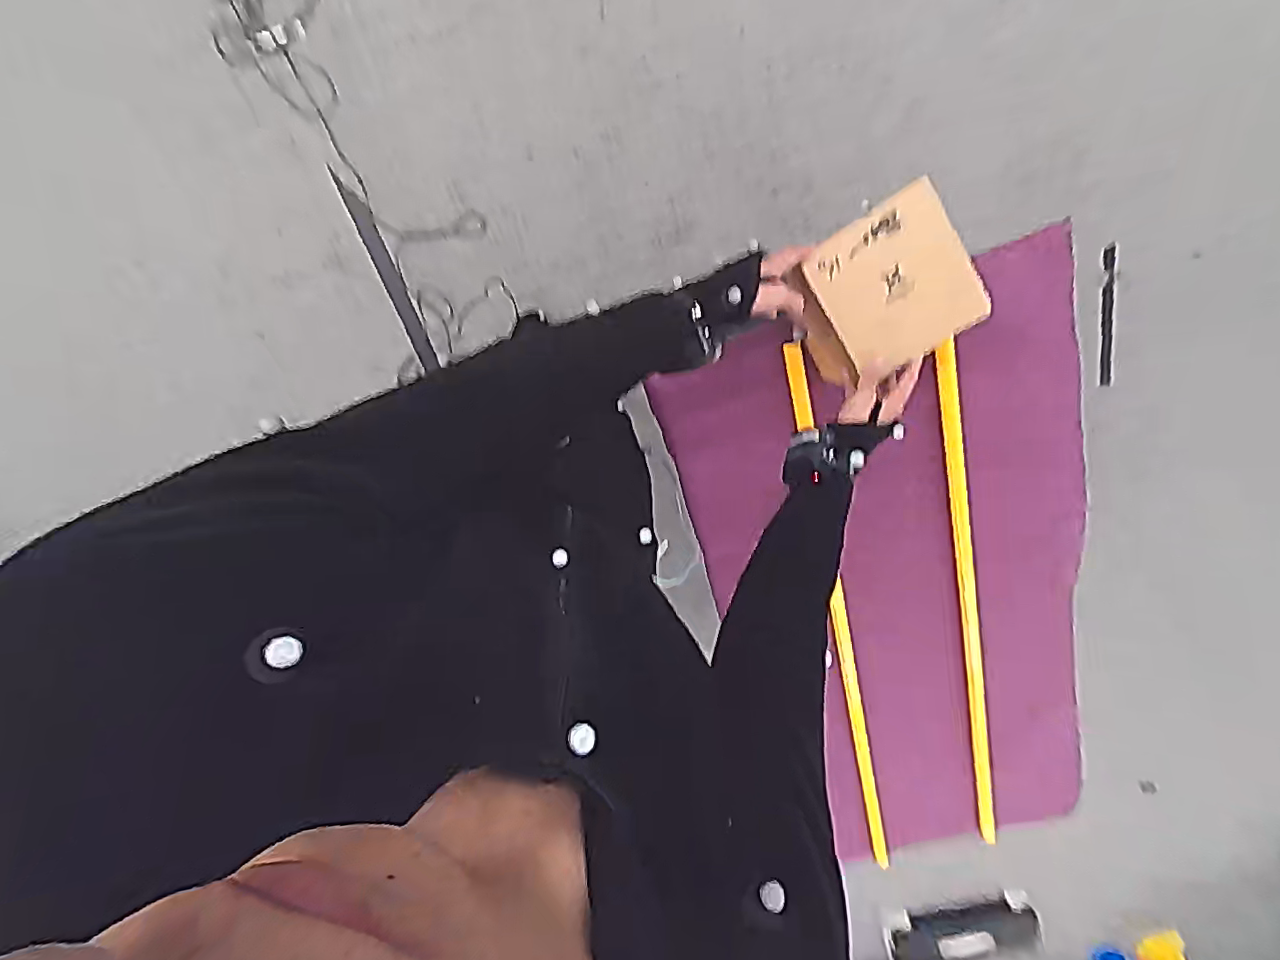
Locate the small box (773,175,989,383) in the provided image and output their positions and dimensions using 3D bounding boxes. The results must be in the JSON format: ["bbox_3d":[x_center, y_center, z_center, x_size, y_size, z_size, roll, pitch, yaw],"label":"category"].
[{"bbox_3d":[0.297,-0.249,0.701,0.168,0.176,0.179,-32,102,9],"label":"small box"}]
